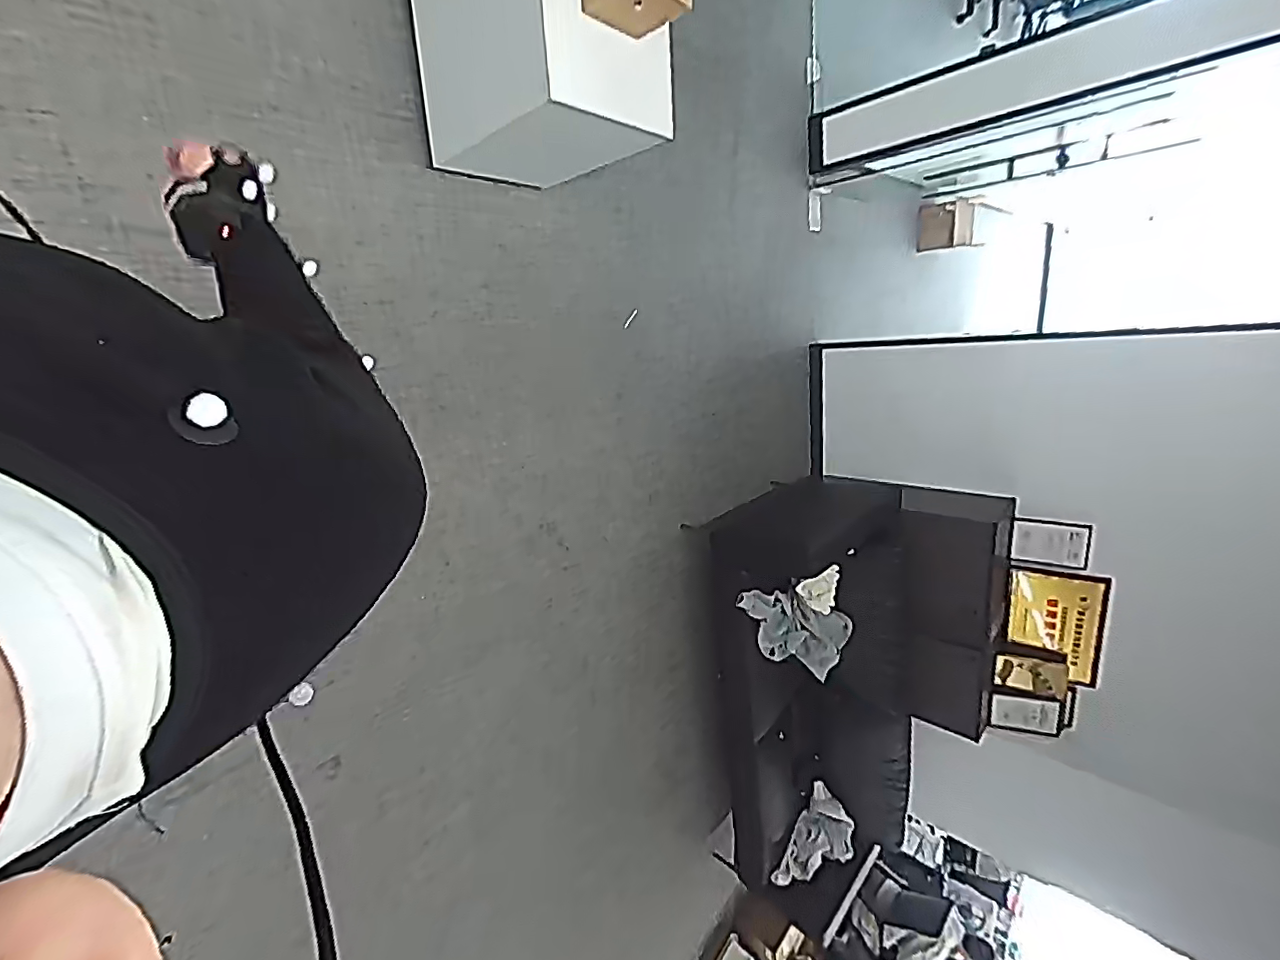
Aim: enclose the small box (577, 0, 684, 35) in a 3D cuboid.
[{"bbox_3d":[-0.029,-1.098,1.152,0.179,0.176,0.168,-21,112,-44],"label":"small box"}]
